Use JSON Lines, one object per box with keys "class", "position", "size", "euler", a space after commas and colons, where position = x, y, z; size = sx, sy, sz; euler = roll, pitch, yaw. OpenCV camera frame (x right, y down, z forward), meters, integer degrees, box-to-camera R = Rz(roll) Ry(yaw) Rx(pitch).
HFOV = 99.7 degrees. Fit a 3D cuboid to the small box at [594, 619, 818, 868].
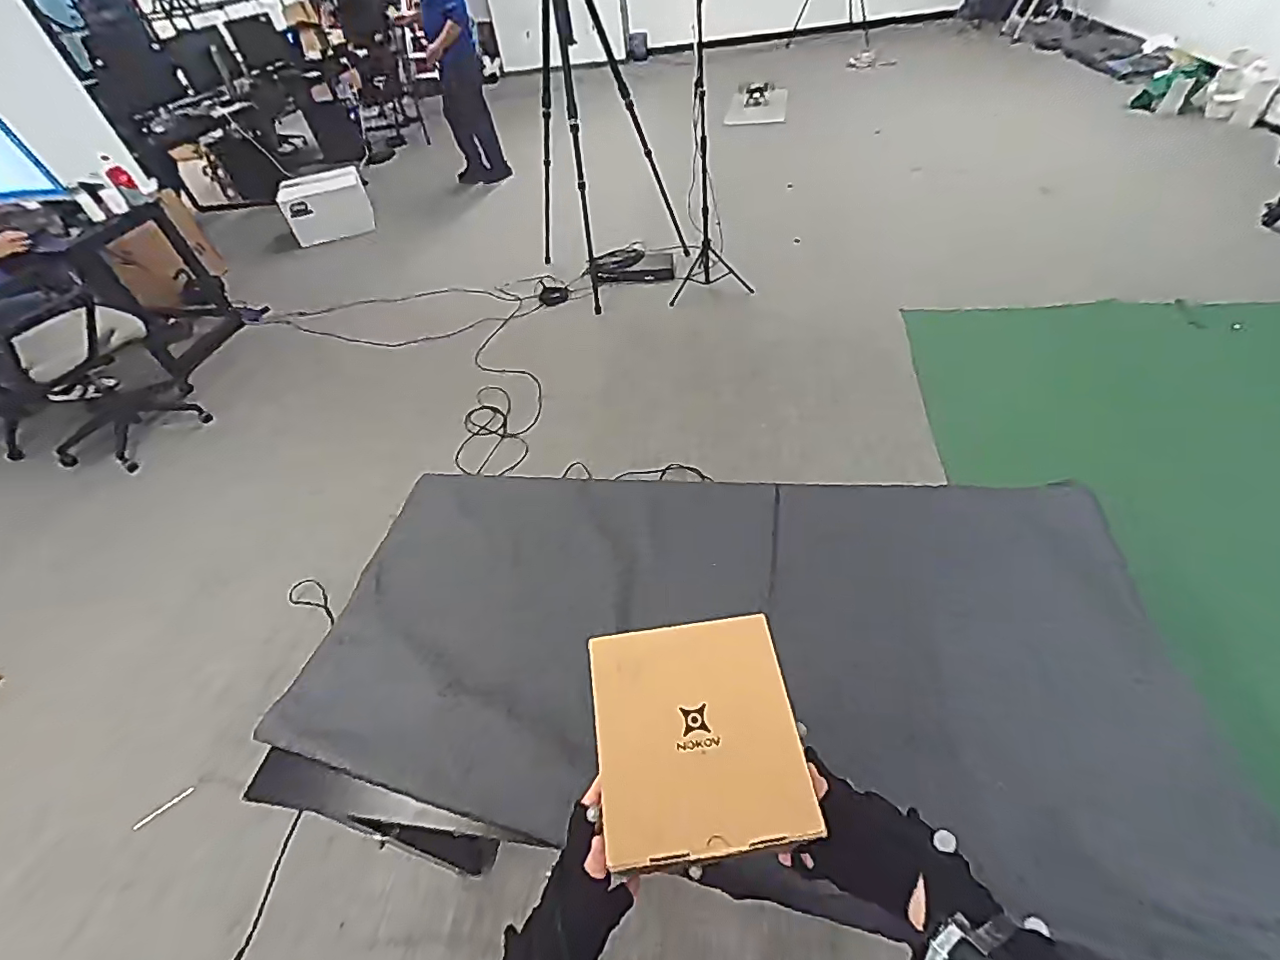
{"class": "small box", "position": [0.046, 0.255, 0.519], "size": [0.168, 0.176, 0.179], "euler": [-6, 54, -3]}
